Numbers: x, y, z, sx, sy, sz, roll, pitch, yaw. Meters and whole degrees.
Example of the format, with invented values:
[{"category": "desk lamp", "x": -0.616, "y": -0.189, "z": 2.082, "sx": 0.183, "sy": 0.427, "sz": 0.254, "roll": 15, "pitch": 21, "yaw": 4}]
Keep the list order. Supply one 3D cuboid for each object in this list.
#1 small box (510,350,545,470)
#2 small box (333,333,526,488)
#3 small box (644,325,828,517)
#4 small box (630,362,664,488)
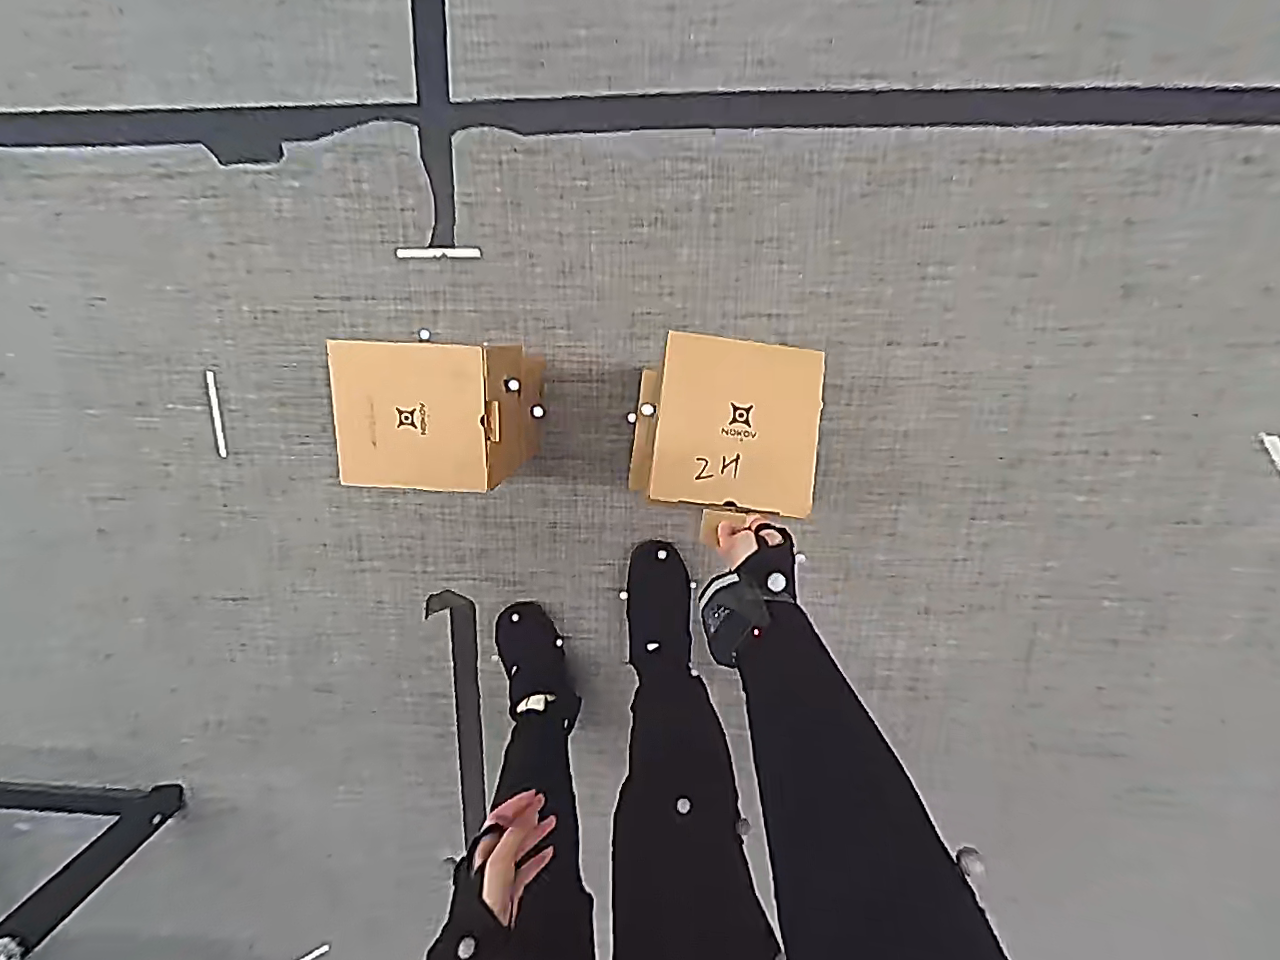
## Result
[{"category": "small box", "x": -0.249, "y": -0.122, "z": 0.835, "sx": 0.179, "sy": 0.176, "sz": 0.168, "roll": 7, "pitch": 104, "yaw": -1}, {"category": "small box", "x": -0.245, "y": -0.094, "z": 0.673, "sx": 0.179, "sy": 0.176, "sz": 0.168, "roll": 4, "pitch": 104, "yaw": 2}, {"category": "small box", "x": 0.098, "y": -0.055, "z": 0.623, "sx": 0.168, "sy": 0.176, "sz": 0.179, "roll": 8, "pitch": 85, "yaw": -2}, {"category": "small box", "x": 0.081, "y": -0.082, "z": 0.834, "sx": 0.168, "sy": 0.176, "sz": 0.179, "roll": 8, "pitch": 103, "yaw": 0}]
